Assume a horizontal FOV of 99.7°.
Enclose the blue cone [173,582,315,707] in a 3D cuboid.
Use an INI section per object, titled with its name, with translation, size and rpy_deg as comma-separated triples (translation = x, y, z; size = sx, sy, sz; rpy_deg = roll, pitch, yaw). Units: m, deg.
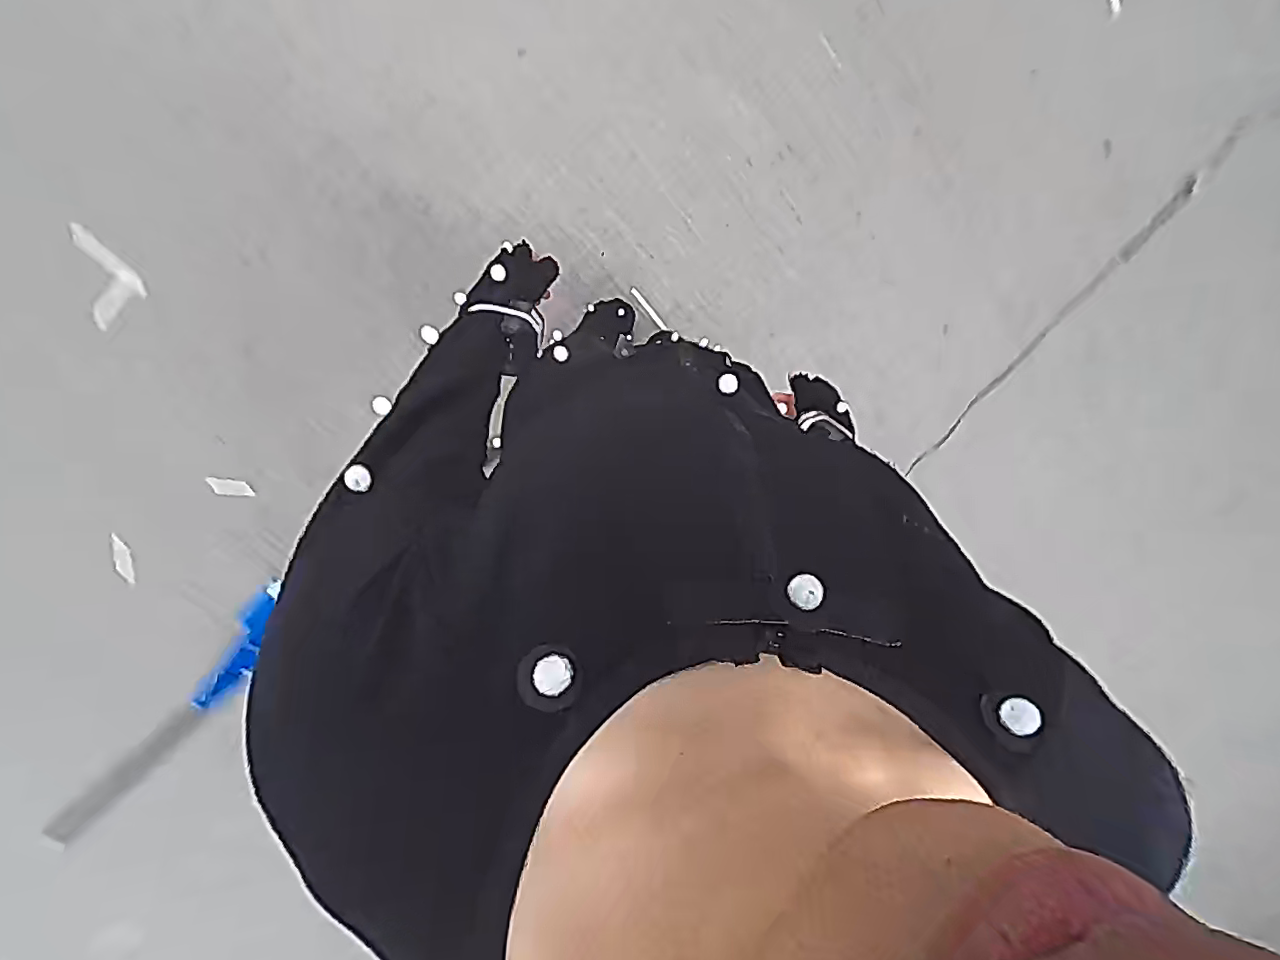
[blue cone]
translation = -1.050, 0.454, 1.410
size = 0.193, 0.380, 0.192
rpy_deg = -43, 105, 9
